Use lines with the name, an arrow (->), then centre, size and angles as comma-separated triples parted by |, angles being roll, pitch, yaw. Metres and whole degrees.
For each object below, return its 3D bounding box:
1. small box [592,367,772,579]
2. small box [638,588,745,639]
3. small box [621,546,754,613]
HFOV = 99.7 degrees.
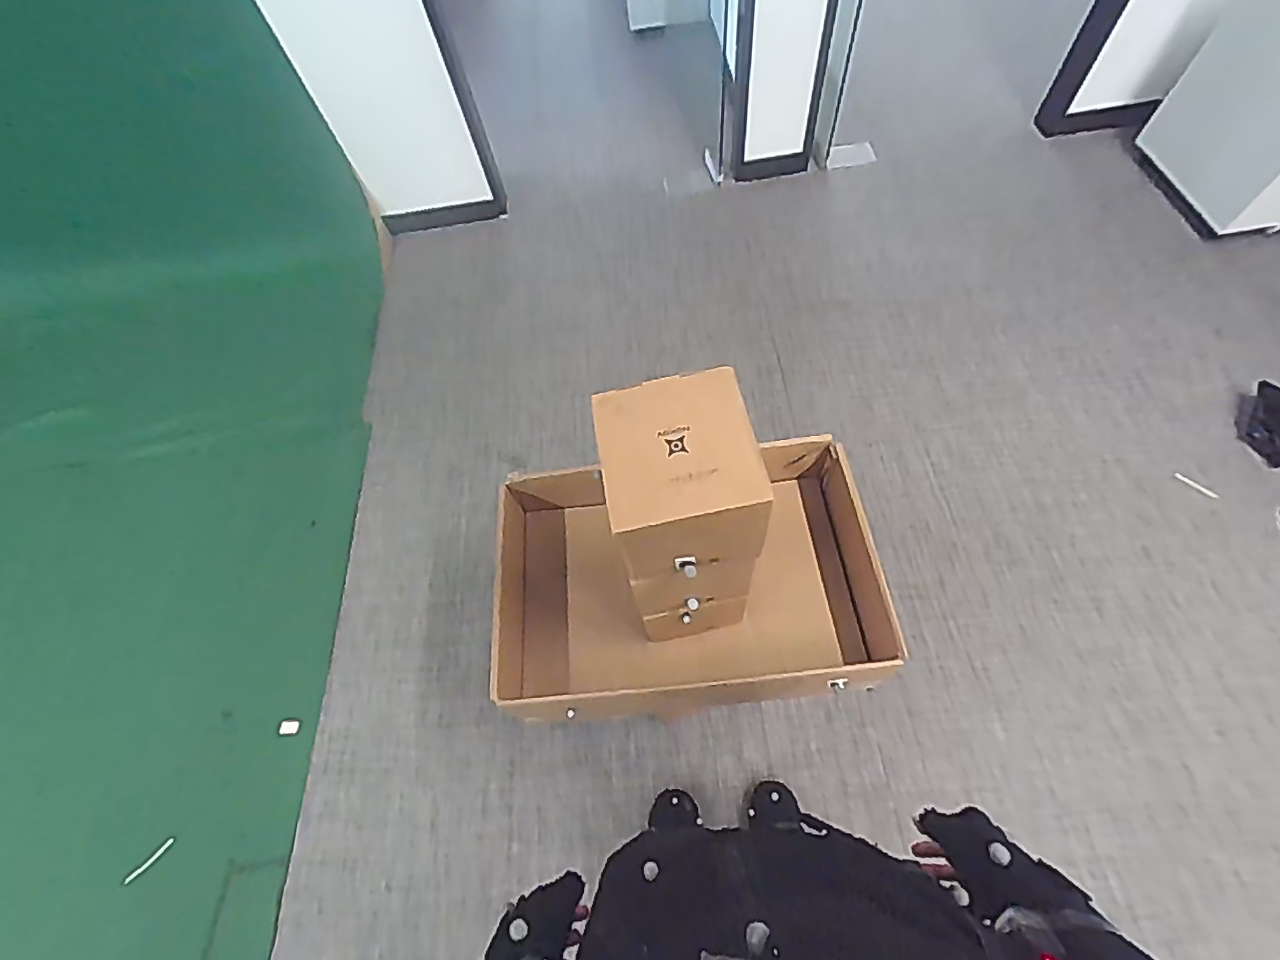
small box -> 0.047, -0.001, 0.644 | 0.168, 0.176, 0.179 | -12, 62, 2
small box -> 0.074, 0.155, 0.928 | 0.168, 0.176, 0.179 | -13, 60, 1
small box -> 0.057, 0.075, 0.786 | 0.168, 0.176, 0.179 | -12, 62, 1
